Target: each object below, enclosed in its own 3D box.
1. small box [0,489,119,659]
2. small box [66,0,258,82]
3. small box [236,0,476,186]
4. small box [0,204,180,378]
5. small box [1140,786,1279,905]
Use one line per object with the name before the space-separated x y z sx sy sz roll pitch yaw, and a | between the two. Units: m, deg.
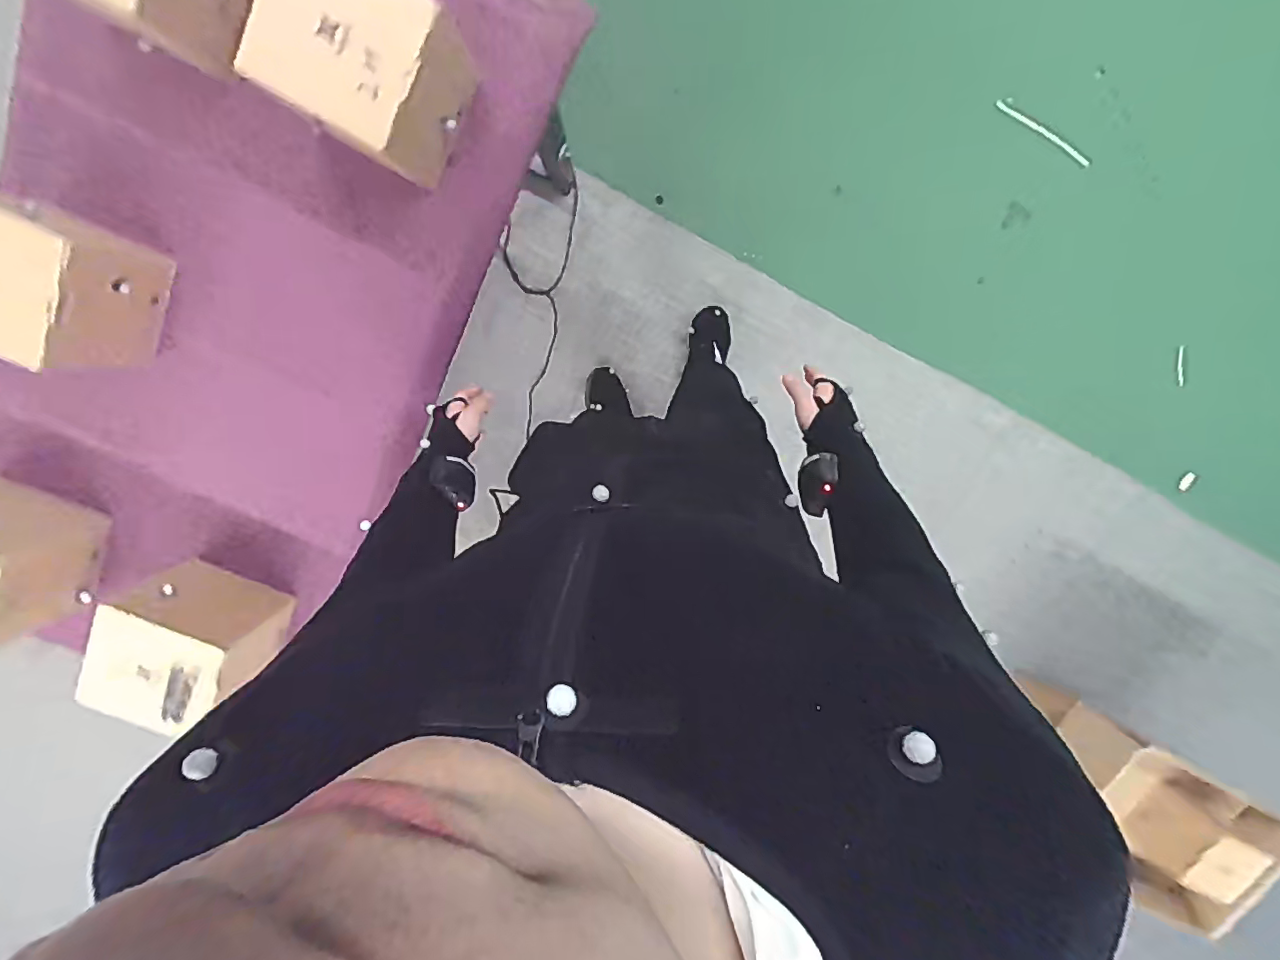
small box | -0.942 0.128 0.801 0.179 0.176 0.168 22 102 -7
small box | -0.584 -0.612 0.630 0.179 0.176 0.168 24 102 -9
small box | -0.331 -0.495 0.664 0.179 0.176 0.168 27 103 -8
small box | -0.771 -0.250 0.716 0.179 0.176 0.168 23 102 -7
small box | 1.483 0.940 1.403 0.179 0.176 0.168 27 102 -7
